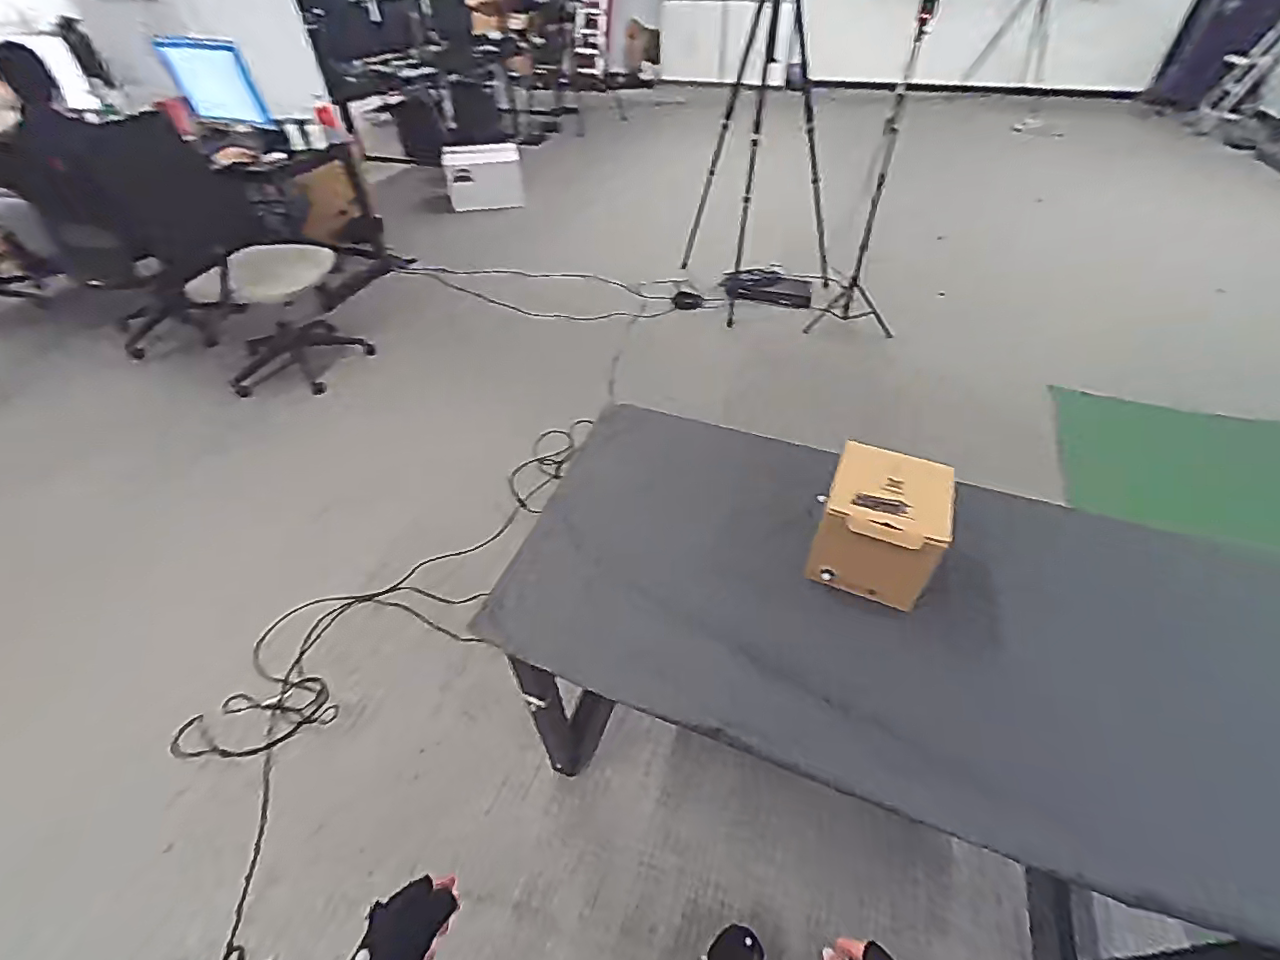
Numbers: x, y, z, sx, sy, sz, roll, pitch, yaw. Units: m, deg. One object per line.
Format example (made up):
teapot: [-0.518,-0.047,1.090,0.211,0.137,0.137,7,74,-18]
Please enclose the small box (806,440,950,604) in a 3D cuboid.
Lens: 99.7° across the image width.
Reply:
small box: [0.377,0.069,0.872,0.168,0.176,0.179,18,47,18]
